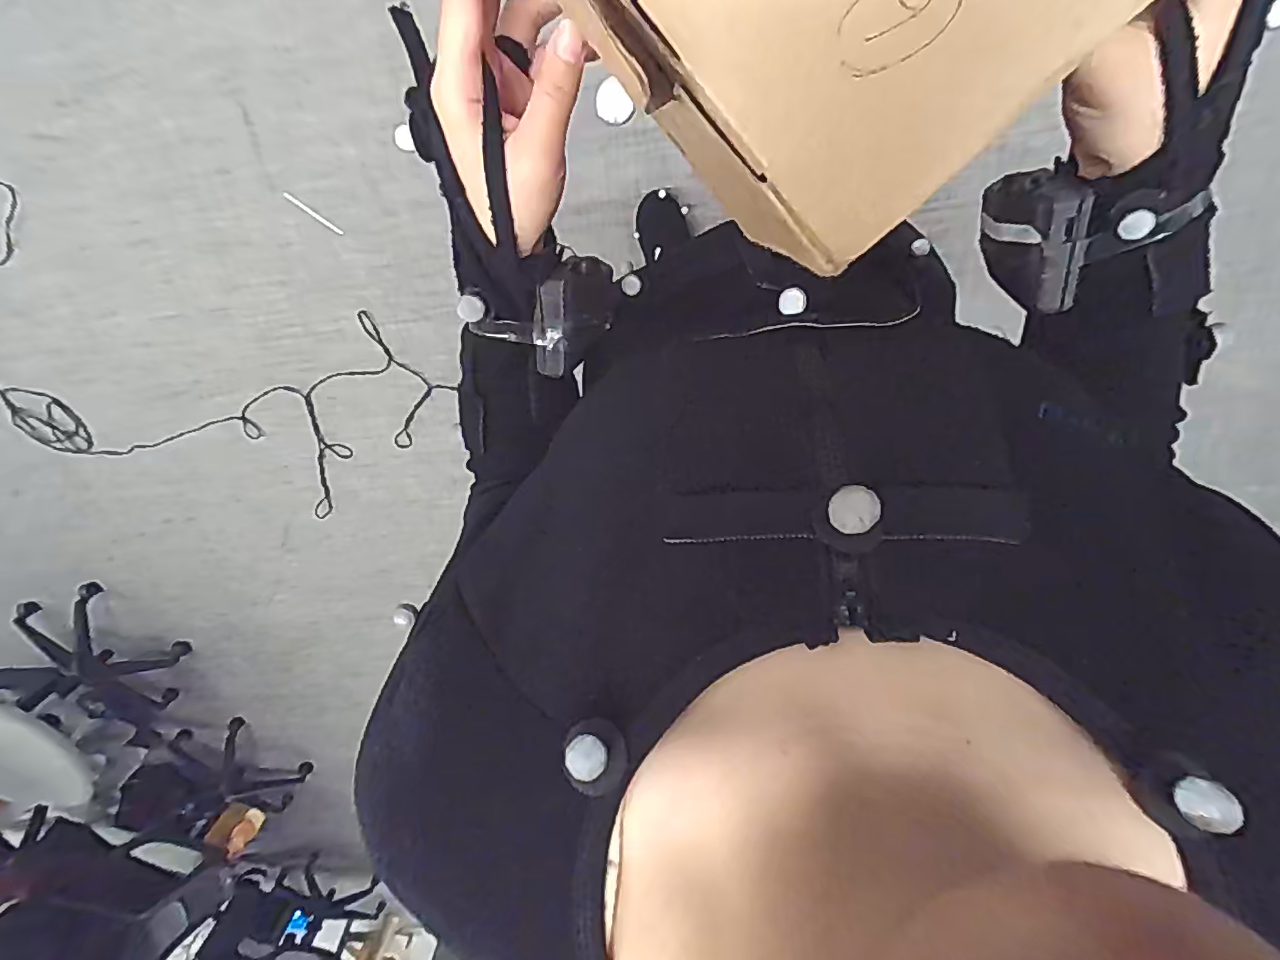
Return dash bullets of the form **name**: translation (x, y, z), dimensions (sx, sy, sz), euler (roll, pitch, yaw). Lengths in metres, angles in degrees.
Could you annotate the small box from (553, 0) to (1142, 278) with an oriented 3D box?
- **small box**: translation (0.061, -0.195, 0.172), dimensions (0.168, 0.176, 0.179), euler (42, 112, -16)
